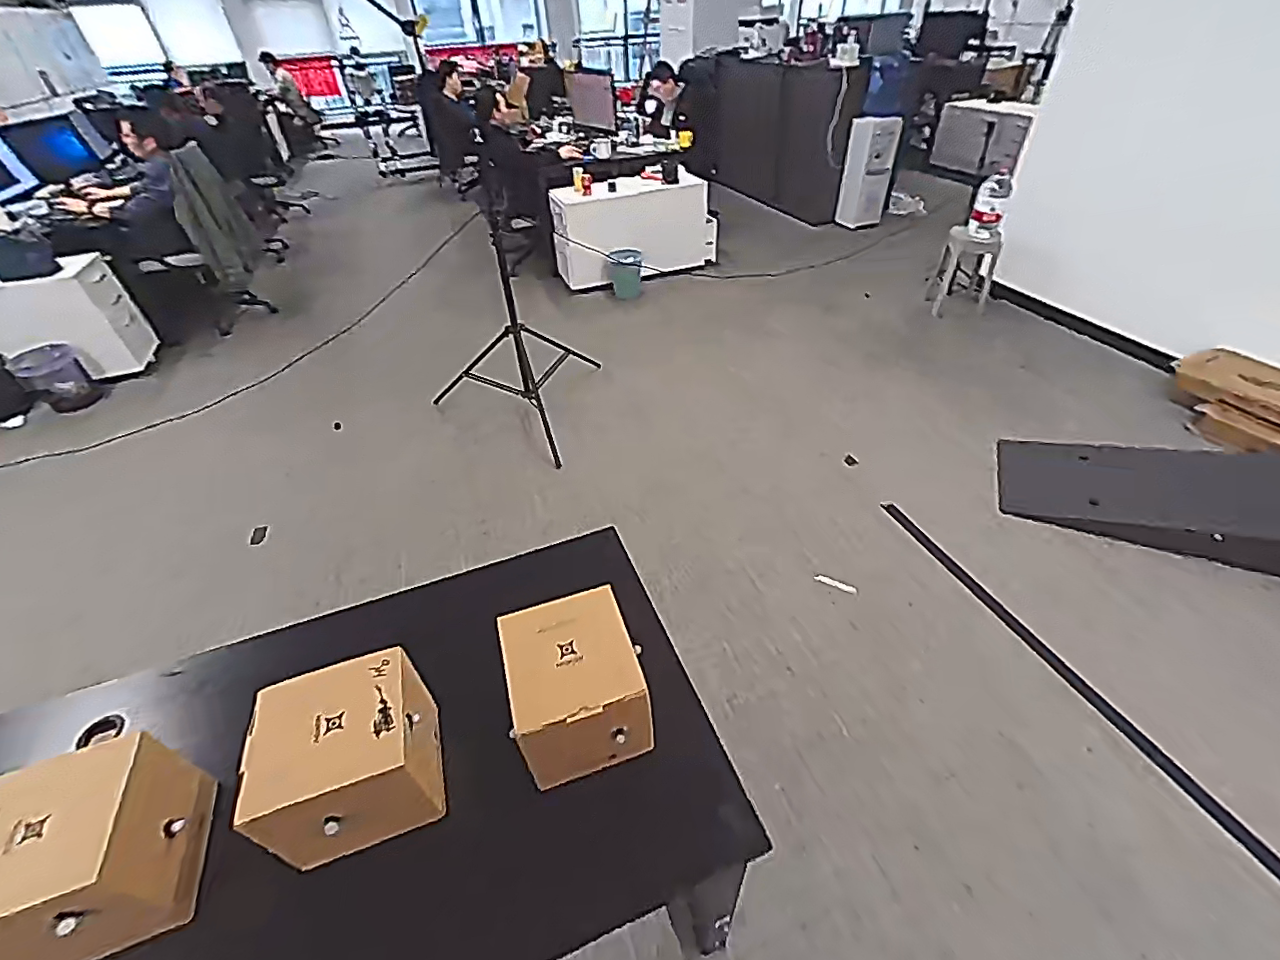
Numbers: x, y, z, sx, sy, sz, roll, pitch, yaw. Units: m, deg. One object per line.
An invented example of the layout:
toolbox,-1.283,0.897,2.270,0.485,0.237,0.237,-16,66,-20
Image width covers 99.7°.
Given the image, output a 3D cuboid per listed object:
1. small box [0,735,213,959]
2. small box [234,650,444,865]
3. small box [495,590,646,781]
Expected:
small box,-0.644,0.438,0.626,0.179,0.176,0.168,-16,42,-15
small box,-0.371,0.359,0.701,0.179,0.176,0.168,-16,42,-13
small box,-0.095,0.292,0.758,0.168,0.176,0.179,-14,41,-13
